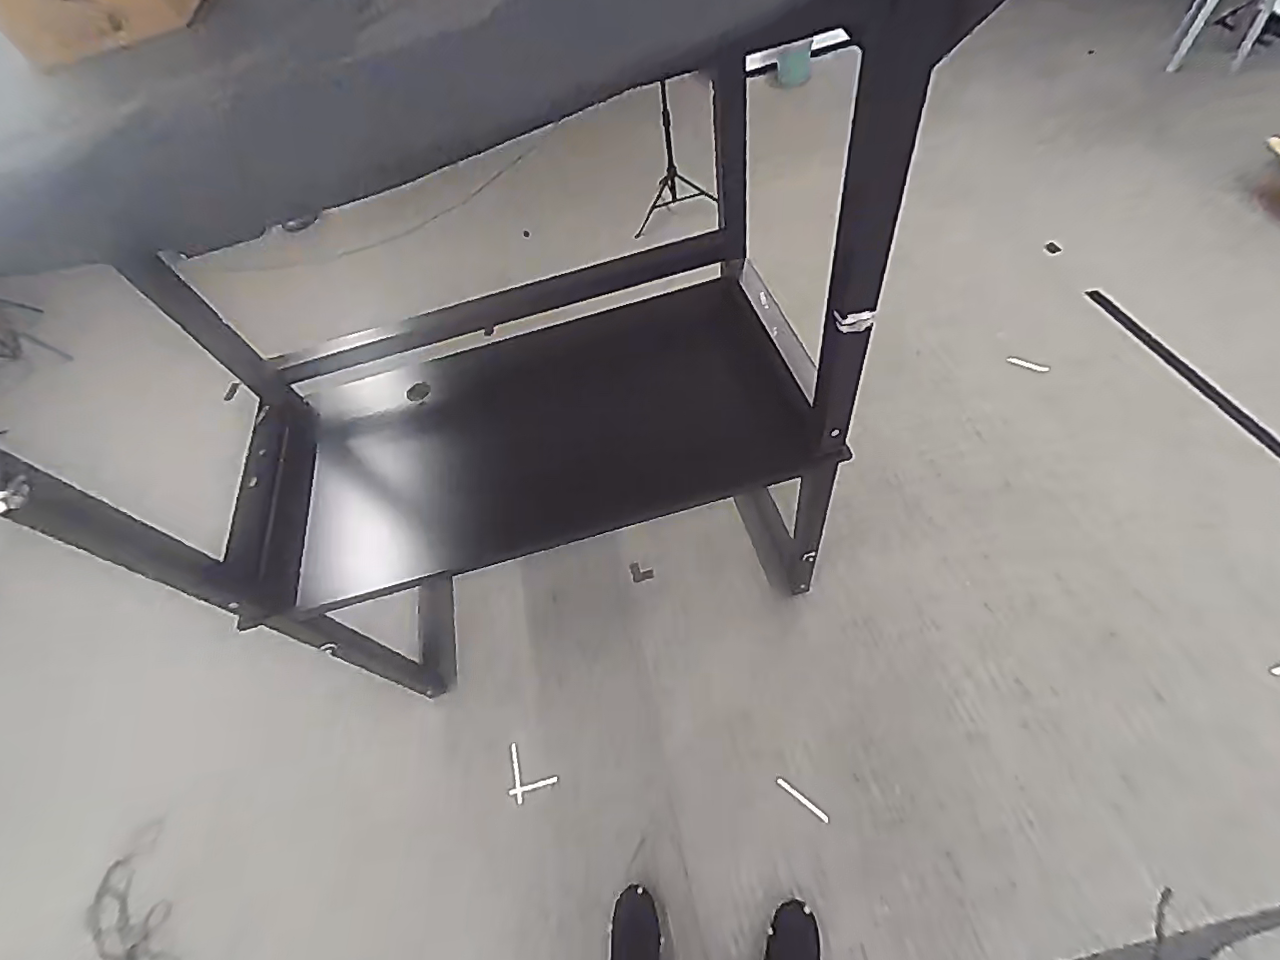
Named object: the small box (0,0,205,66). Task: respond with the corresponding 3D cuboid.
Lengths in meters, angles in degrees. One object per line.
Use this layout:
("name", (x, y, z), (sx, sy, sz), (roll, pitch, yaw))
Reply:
("small box", (-0.604, -0.576, 0.569), (0.168, 0.176, 0.179), (-19, 56, -1))
